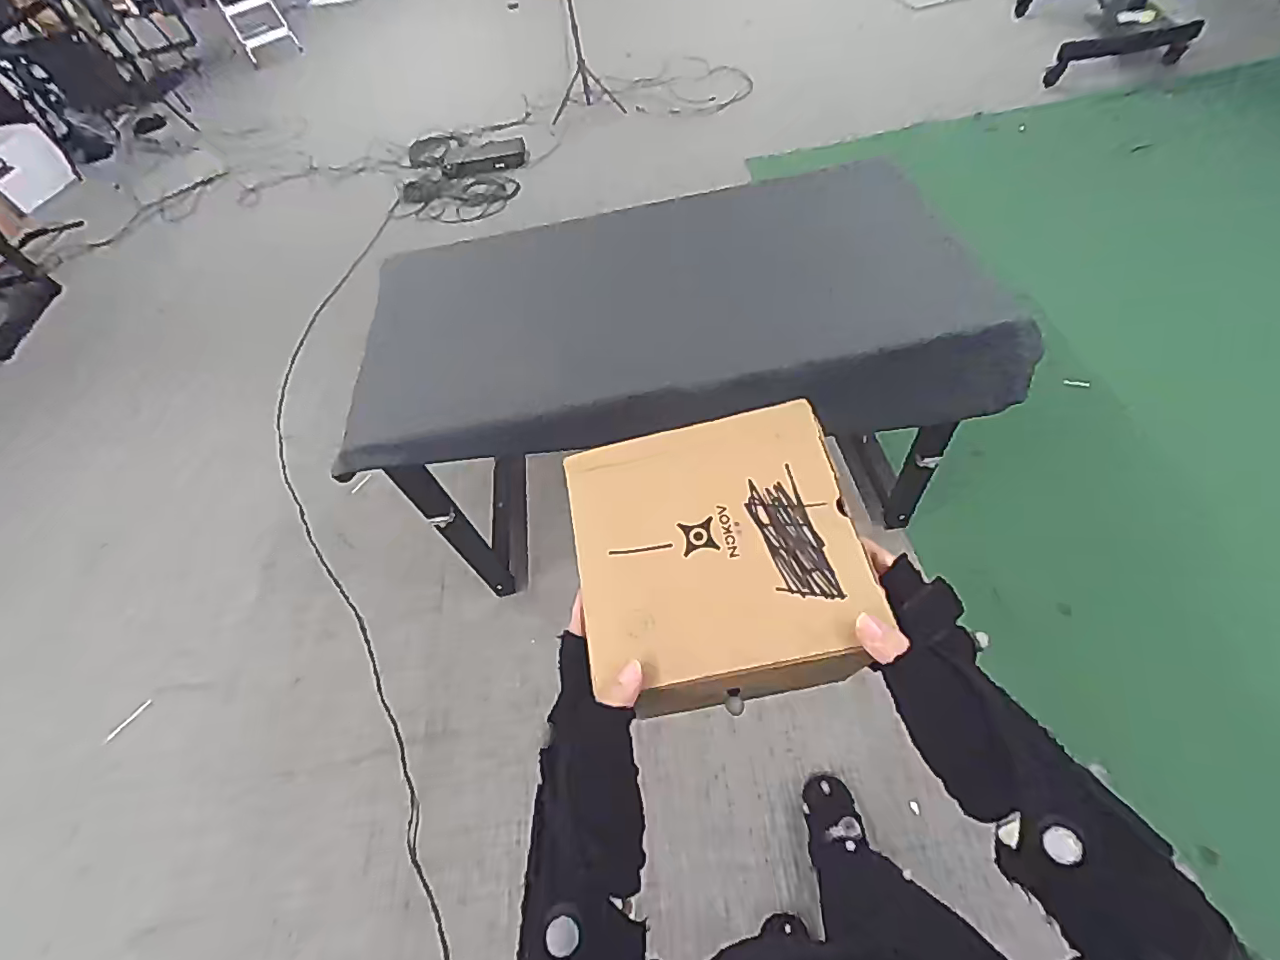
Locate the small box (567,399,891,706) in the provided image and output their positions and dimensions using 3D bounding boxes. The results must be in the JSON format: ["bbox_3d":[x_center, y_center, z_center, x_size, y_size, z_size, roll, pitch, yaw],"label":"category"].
[{"bbox_3d":[0.056,0.067,0.413,0.179,0.176,0.168,-13,62,3],"label":"small box"}]
